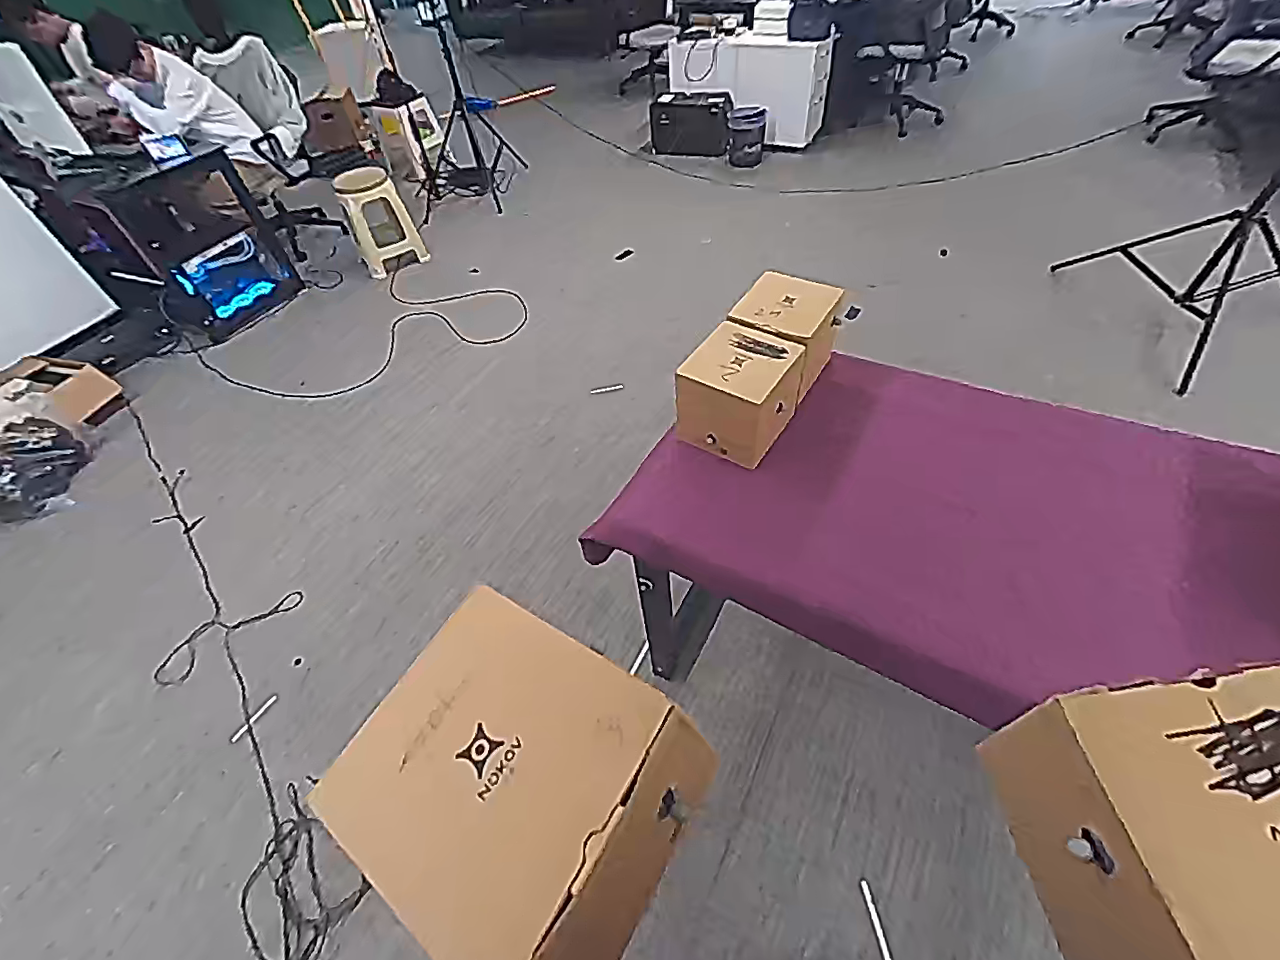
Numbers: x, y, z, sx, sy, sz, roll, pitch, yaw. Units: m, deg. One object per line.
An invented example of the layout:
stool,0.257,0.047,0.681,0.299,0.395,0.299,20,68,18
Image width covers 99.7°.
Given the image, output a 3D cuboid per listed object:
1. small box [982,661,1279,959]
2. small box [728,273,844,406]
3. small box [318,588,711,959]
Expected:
small box,0.351,0.230,0.332,0.168,0.176,0.179,-11,54,6
small box,0.286,-0.284,1.093,0.168,0.176,0.179,25,58,25
small box,-0.067,0.211,0.383,0.179,0.176,0.168,20,61,31
